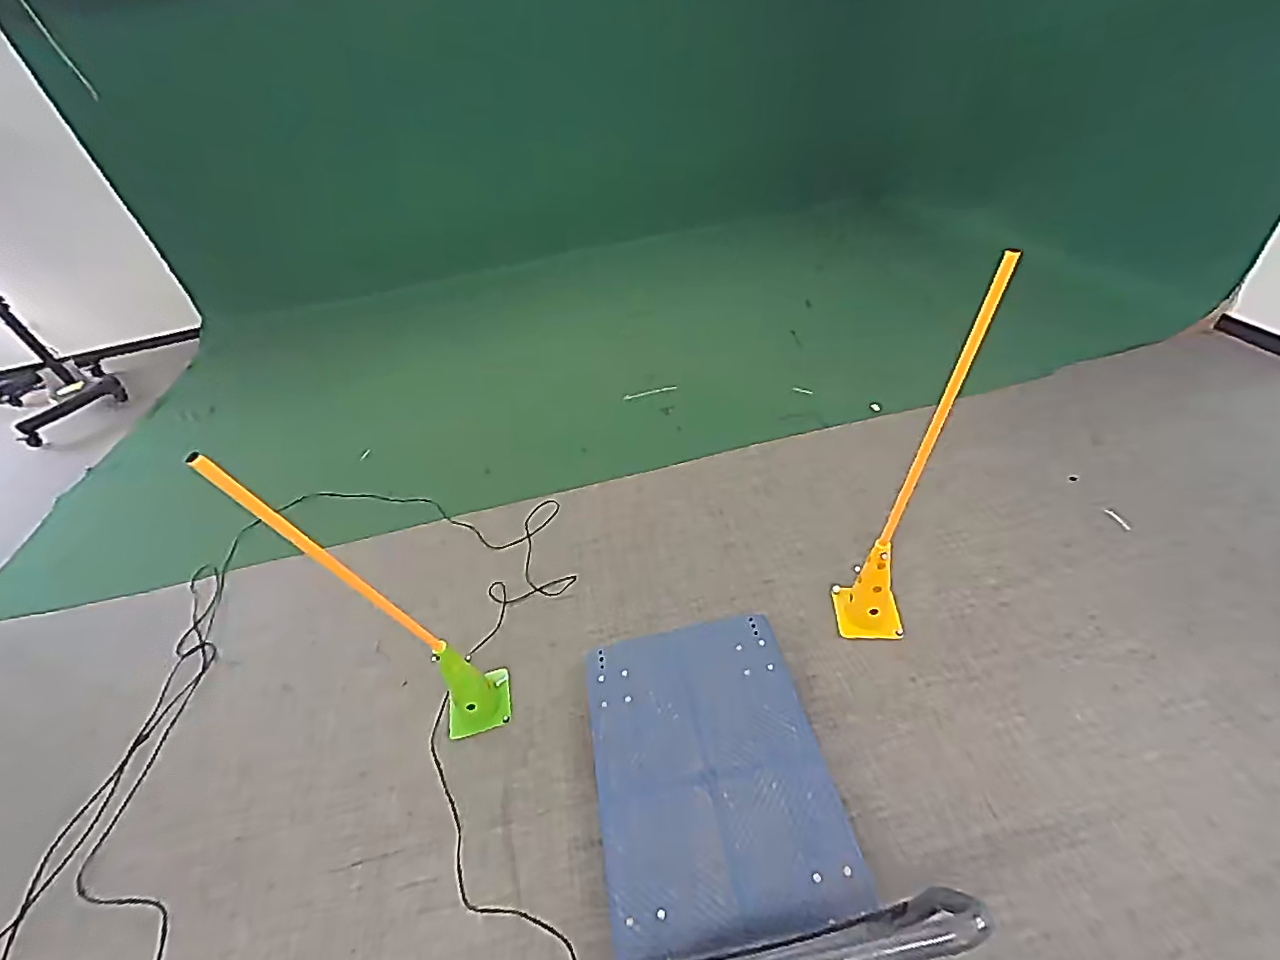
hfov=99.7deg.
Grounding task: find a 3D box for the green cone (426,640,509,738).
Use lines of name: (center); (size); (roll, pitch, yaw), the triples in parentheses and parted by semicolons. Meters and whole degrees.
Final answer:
green cone: (-0.559, 0.600, 1.662); (0.202, 0.368, 0.200); (-17, 41, -5)
